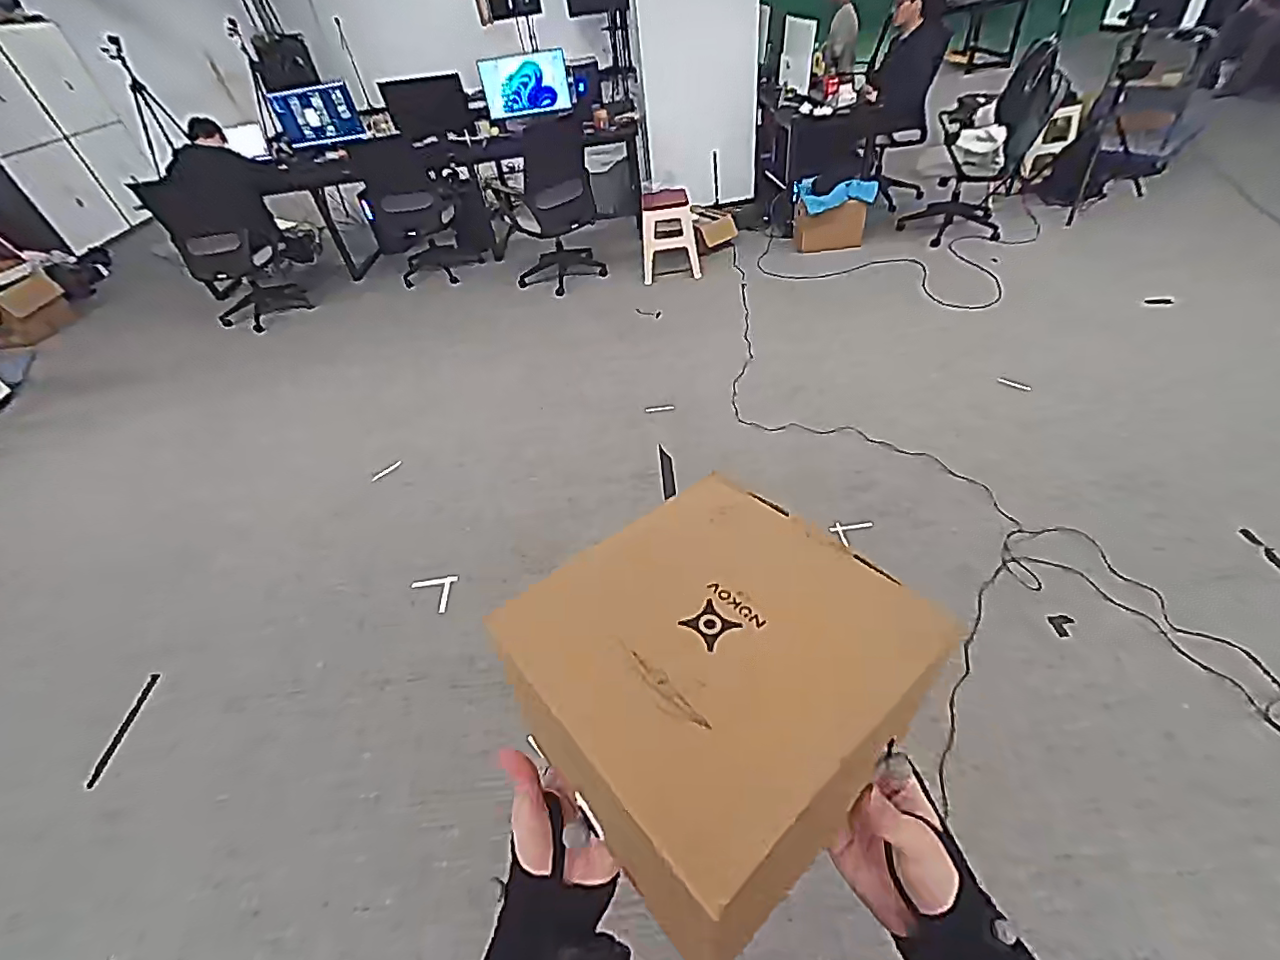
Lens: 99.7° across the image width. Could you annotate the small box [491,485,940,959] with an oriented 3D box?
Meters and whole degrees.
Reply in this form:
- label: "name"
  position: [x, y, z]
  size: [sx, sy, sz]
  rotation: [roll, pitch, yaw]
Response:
- label: "small box"
  position: [0.041, 0.140, 0.331]
  size: [0.179, 0.176, 0.168]
  rotation: [-33, 46, -27]
